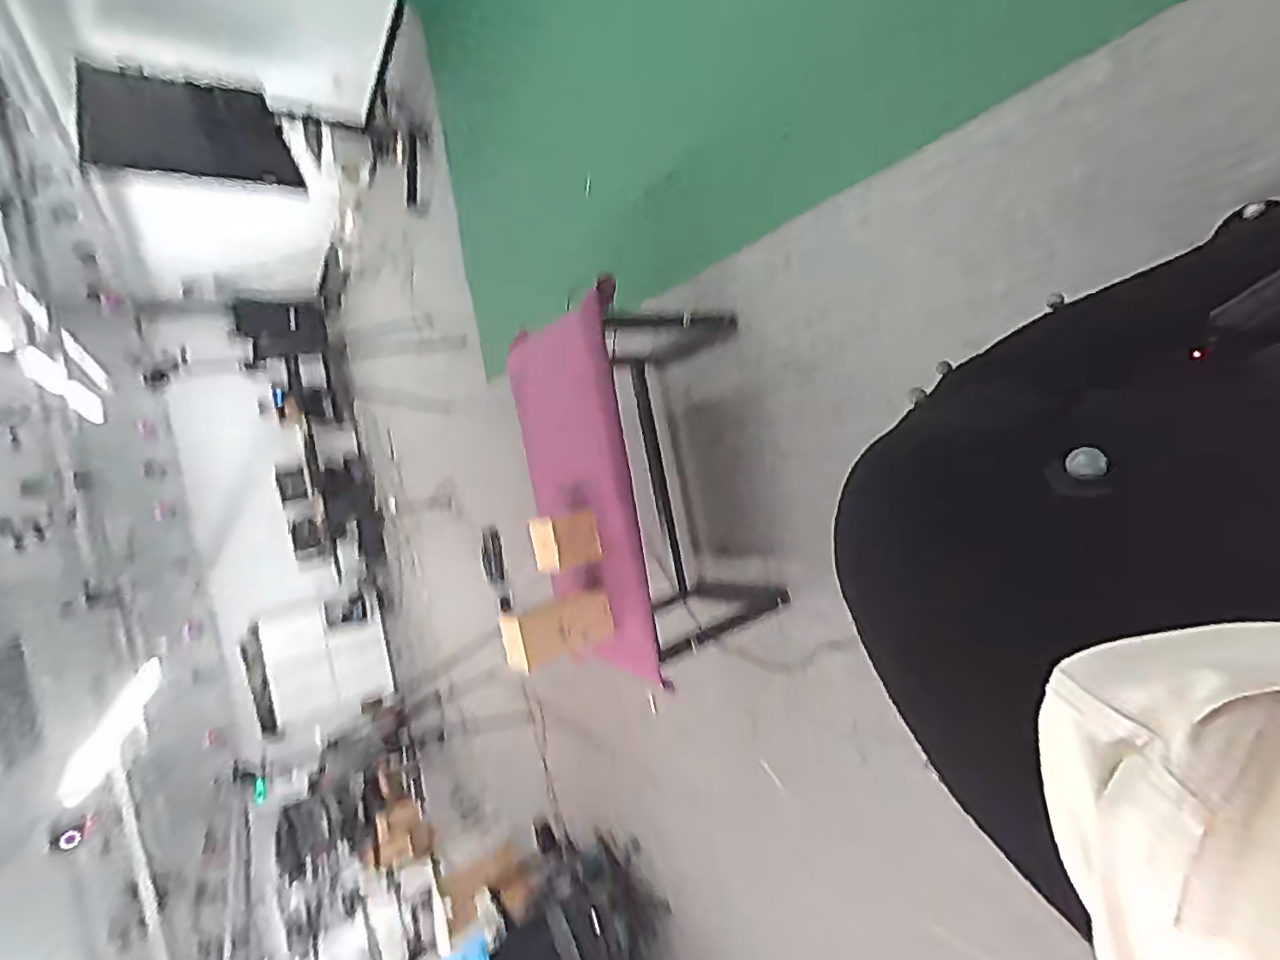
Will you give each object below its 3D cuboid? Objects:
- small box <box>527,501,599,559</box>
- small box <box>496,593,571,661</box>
[{"bbox_3d":[-0.263,0.171,1.853,0.179,0.176,0.168,-10,92,53],"label":"small box"},{"bbox_3d":[-0.350,0.476,1.780,0.179,0.176,0.168,-12,91,54],"label":"small box"}]
